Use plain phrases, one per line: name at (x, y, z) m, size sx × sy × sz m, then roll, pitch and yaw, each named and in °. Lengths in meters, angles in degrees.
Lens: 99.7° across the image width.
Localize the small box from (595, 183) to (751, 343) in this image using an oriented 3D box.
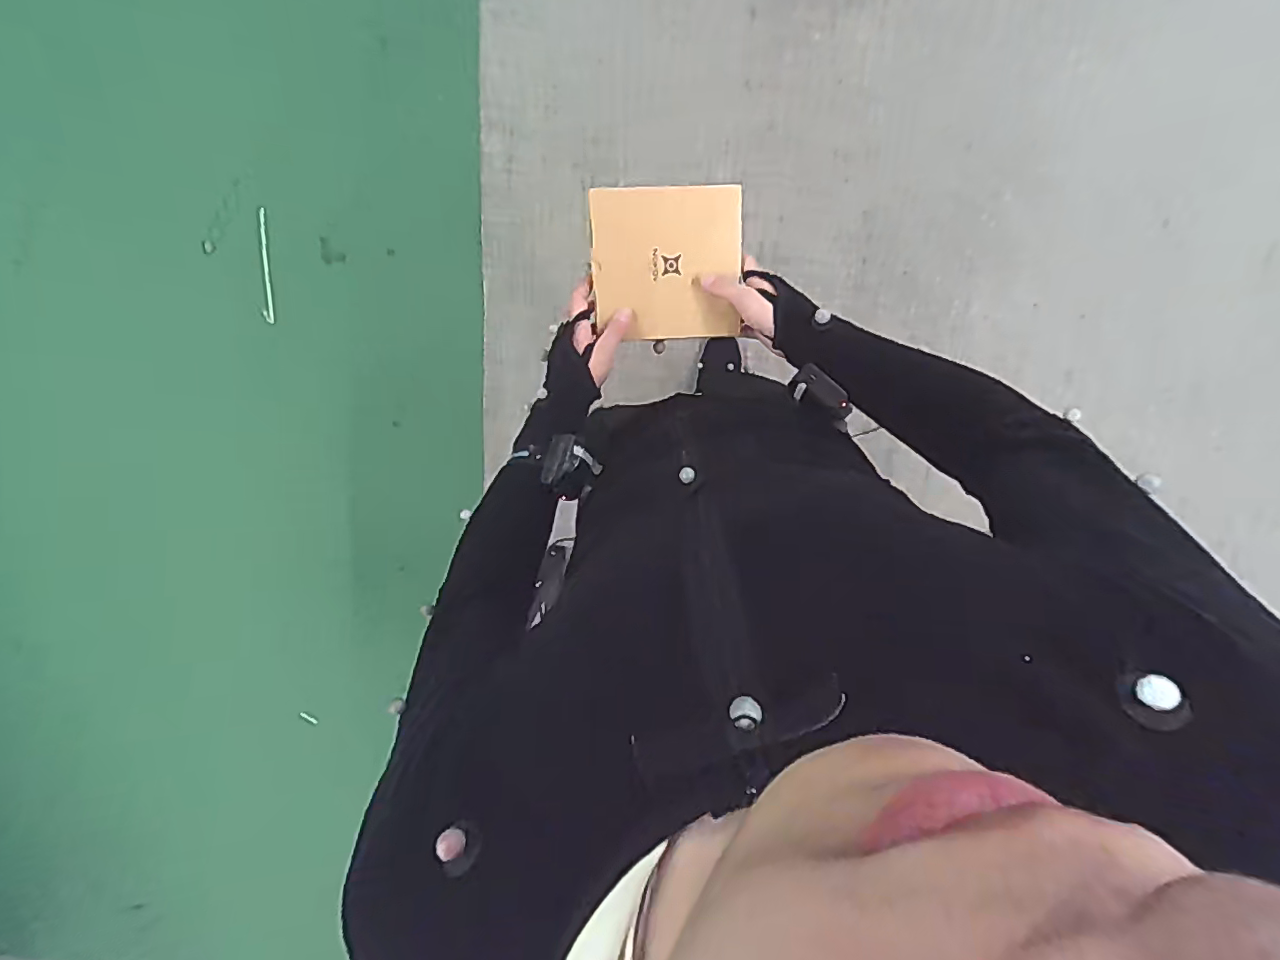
small box at (0.035, -0.266, 0.690) m, size 0.179 × 0.176 × 0.168 m, roll -4°, pitch 106°, yaw -2°
